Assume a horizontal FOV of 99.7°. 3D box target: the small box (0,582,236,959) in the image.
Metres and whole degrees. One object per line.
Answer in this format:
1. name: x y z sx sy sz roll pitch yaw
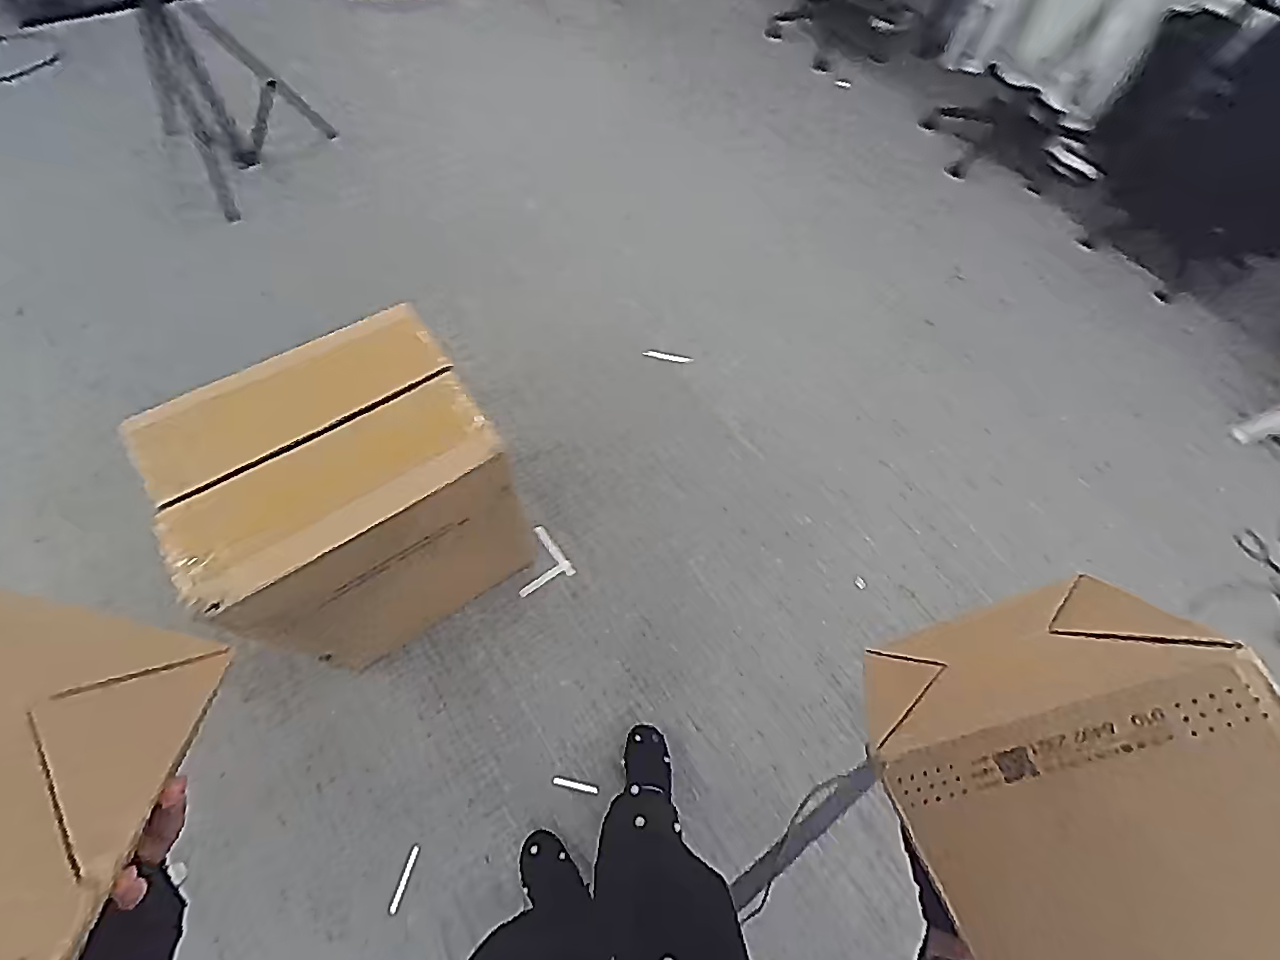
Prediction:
1. small box: -0.277 0.135 0.183 0.168 0.179 0.176 24 85 -26

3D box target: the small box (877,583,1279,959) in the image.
1. small box: 0.256 0.174 0.312 0.168 0.179 0.176 -29 81 20
